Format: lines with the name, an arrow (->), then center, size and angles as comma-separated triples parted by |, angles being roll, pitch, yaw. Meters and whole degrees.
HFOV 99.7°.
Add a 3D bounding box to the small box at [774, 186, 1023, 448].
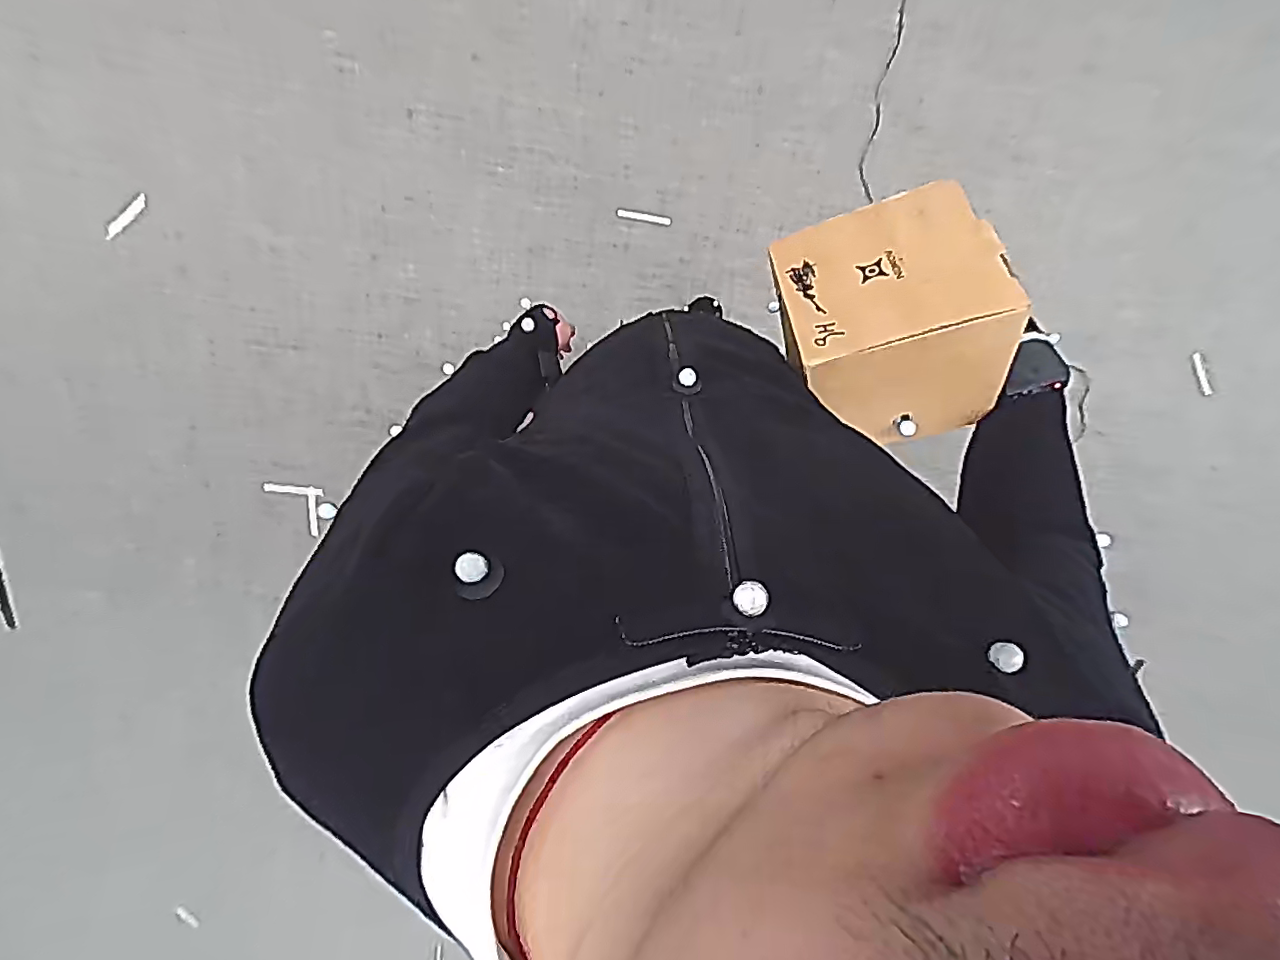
small box -> 0.249, -0.156, 0.562 | 0.179, 0.168, 0.176 | -14, 149, 14
